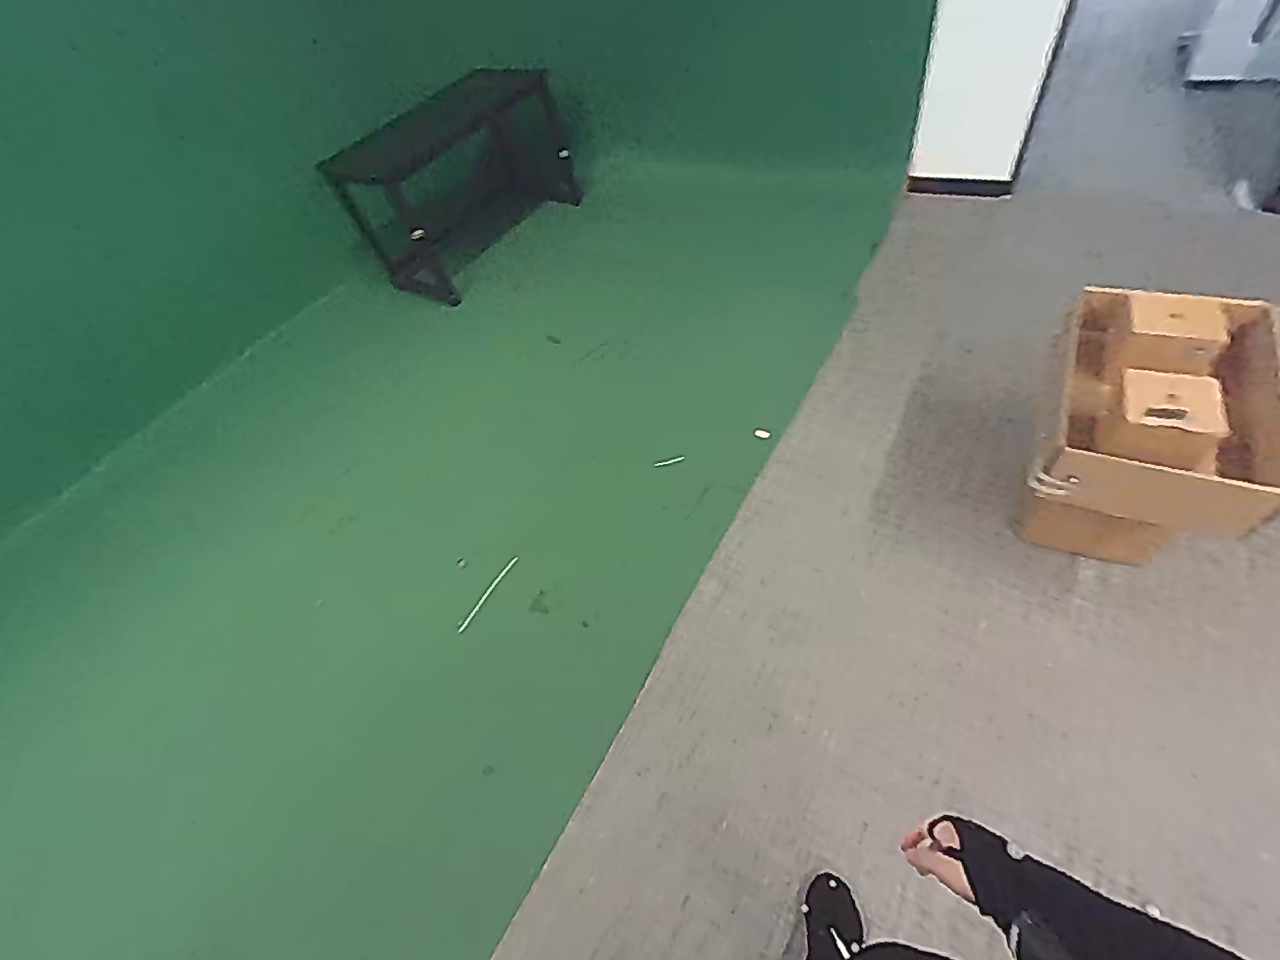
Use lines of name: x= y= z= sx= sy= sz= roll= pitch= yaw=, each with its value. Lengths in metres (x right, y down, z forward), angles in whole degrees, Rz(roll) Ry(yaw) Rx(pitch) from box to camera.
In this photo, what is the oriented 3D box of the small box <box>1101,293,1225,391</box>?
small box: x=1.303 y=-0.346 z=1.364 sx=0.179 sy=0.176 sz=0.168 roll=14 pitch=57 yaw=23
